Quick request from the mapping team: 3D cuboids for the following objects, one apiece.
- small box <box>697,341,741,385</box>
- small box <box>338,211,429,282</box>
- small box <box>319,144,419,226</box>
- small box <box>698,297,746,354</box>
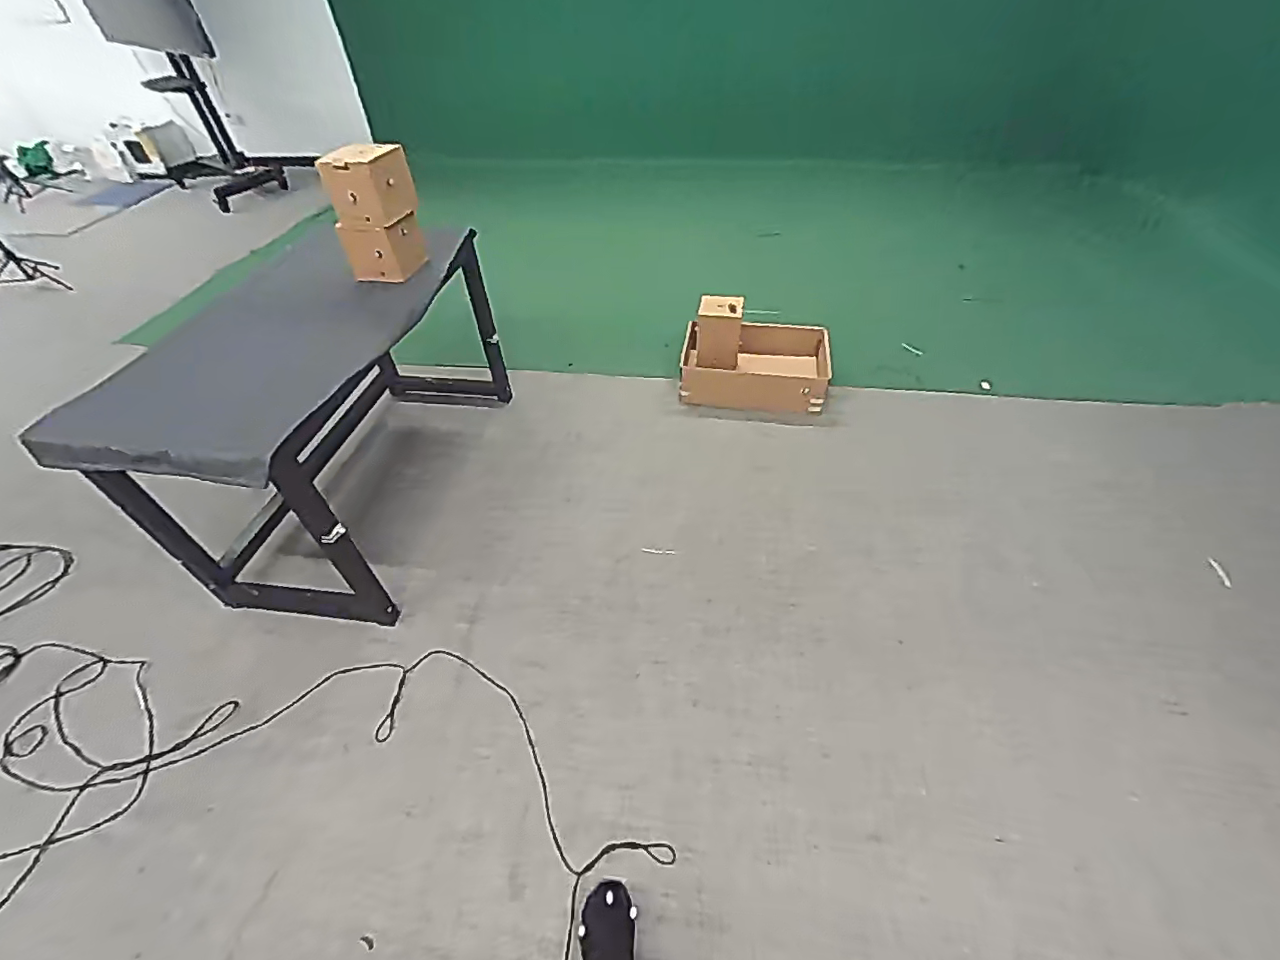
[{"bbox_3d":[0.346,-0.534,2.381,0.179,0.176,0.168,7,47,7],"label":"small box"},{"bbox_3d":[-0.783,-0.731,1.675,0.168,0.176,0.179,8,45,10],"label":"small box"},{"bbox_3d":[-0.770,-0.853,1.564,0.168,0.176,0.179,10,47,12],"label":"small box"},{"bbox_3d":[0.341,-0.645,2.260,0.179,0.176,0.168,7,47,9],"label":"small box"}]
